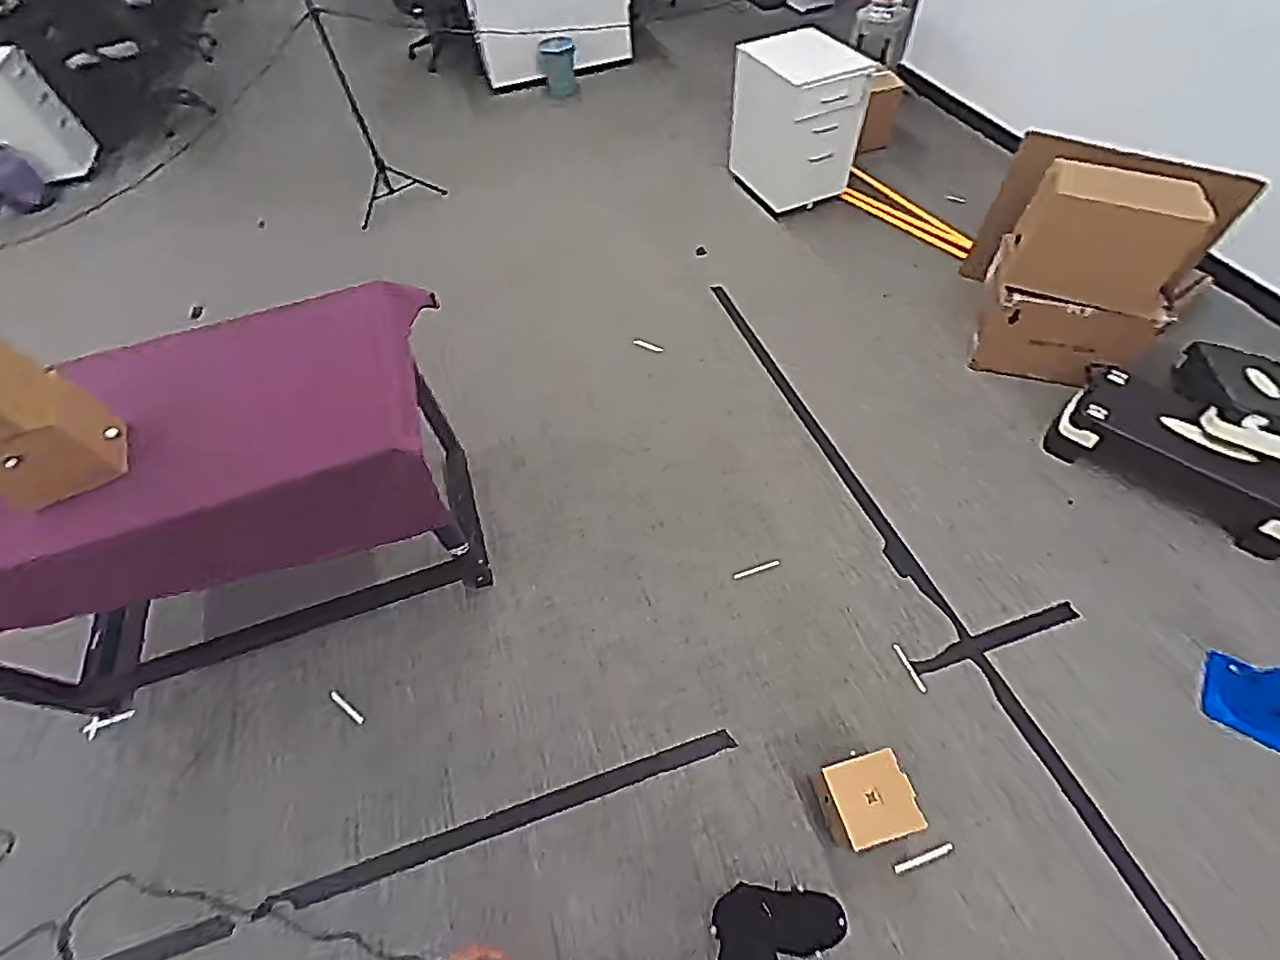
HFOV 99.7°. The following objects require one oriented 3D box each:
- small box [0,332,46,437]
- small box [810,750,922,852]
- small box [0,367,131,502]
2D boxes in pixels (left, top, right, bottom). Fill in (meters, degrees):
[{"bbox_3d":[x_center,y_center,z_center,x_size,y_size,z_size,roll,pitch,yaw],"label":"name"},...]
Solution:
[{"bbox_3d":[-1.210,-0.176,0.940,0.168,0.176,0.179,-22,57,-10],"label":"small box"},{"bbox_3d":[0.517,0.759,1.274,0.179,0.176,0.168,-14,57,-6],"label":"small box"},{"bbox_3d":[-1.178,-0.085,1.076,0.179,0.176,0.168,-26,58,-14],"label":"small box"}]
